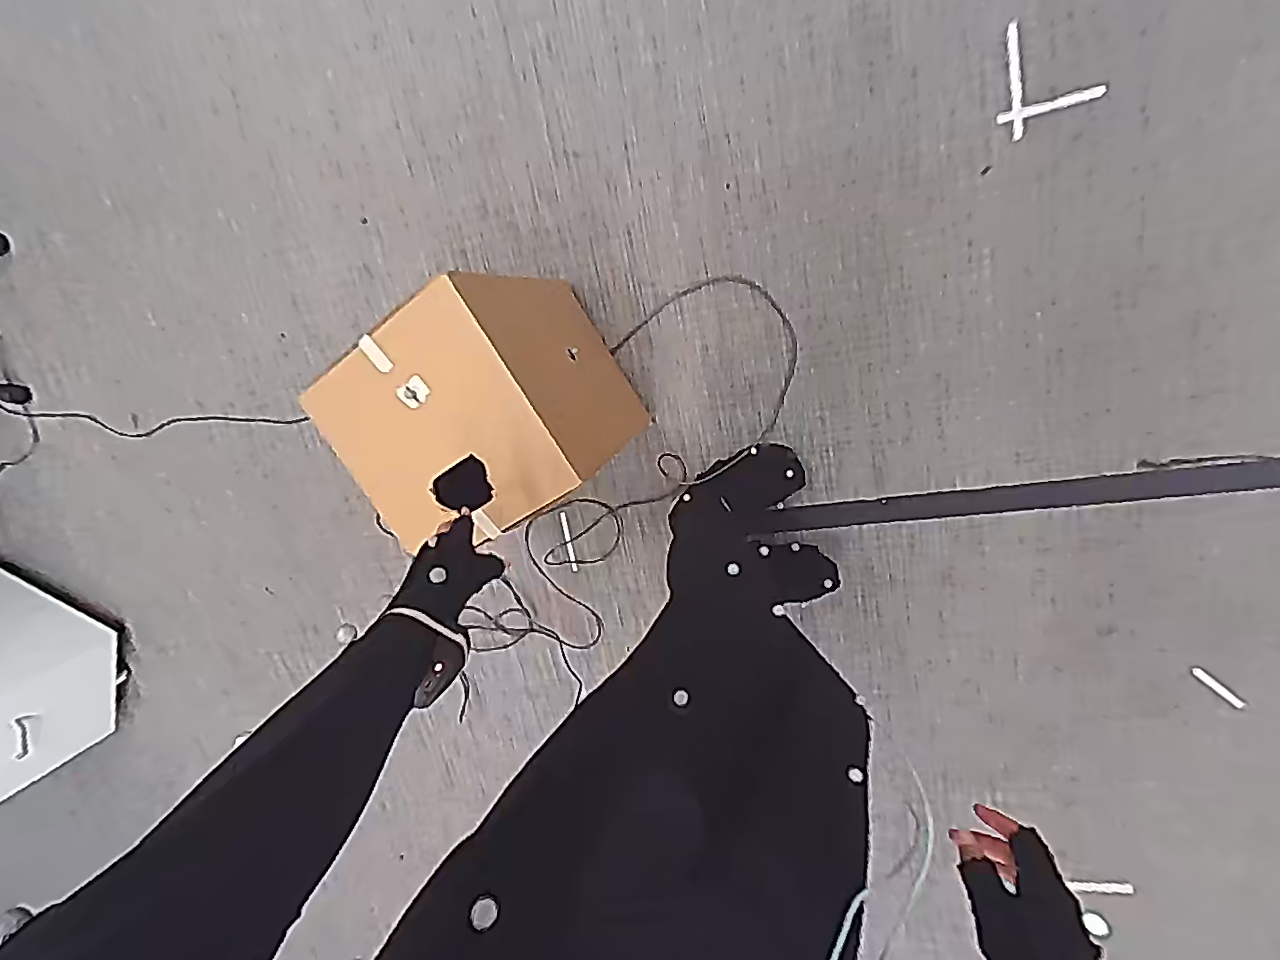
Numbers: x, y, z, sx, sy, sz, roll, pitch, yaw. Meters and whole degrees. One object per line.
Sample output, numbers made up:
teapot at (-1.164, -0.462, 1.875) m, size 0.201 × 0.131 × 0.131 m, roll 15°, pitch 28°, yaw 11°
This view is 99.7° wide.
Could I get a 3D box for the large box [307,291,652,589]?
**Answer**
large box at (-0.228, -0.093, 0.902) m, size 0.320 × 0.408 × 0.320 m, roll -28°, pitch 100°, yaw 22°
